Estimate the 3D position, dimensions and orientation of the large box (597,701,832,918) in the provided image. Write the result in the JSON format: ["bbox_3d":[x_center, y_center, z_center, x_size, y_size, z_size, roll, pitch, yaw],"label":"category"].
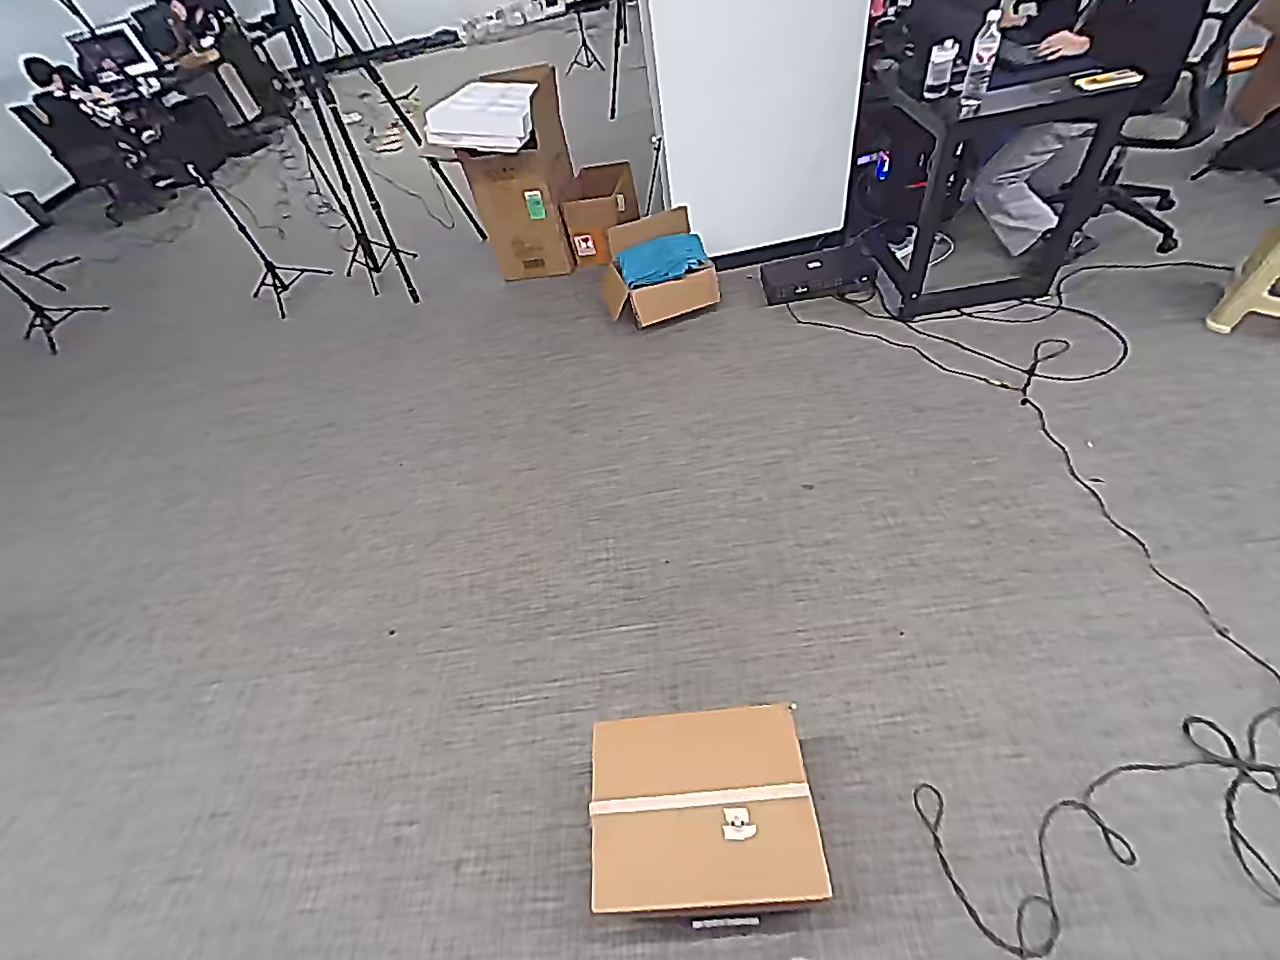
[{"bbox_3d":[0.137,0.684,1.114,0.408,0.320,0.320,-8,49,5],"label":"large box"}]
